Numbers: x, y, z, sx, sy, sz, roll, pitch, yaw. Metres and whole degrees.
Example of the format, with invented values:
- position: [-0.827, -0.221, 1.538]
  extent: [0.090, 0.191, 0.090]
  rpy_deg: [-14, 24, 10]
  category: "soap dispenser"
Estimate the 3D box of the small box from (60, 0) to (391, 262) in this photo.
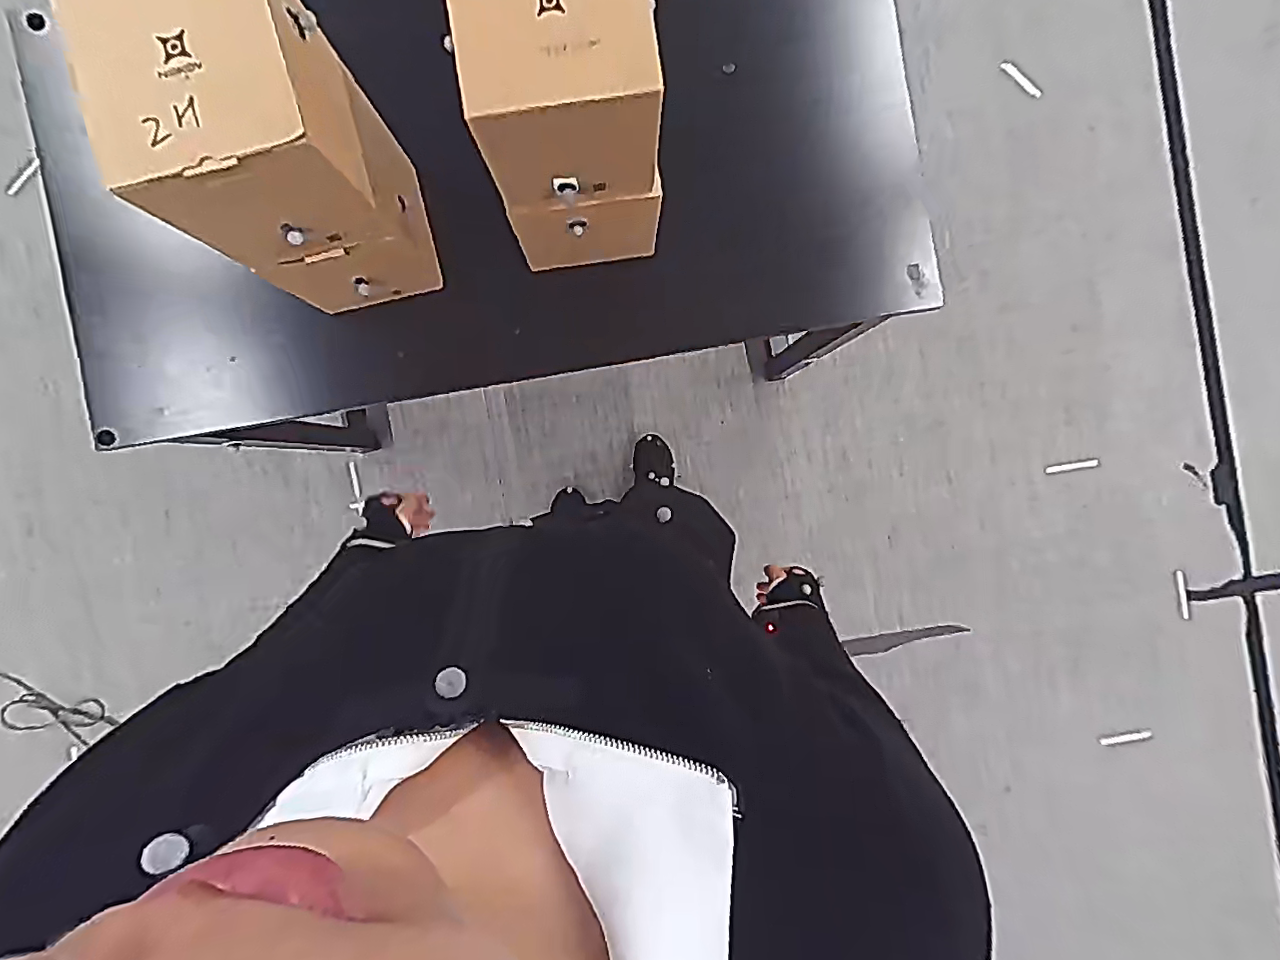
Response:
- position: [-0.367, -0.338, 0.512]
  extent: [0.168, 0.176, 0.179]
  rpy_deg: [-15, 91, -1]
  category: "small box"

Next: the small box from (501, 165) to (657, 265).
- position: [-0.077, -0.389, 0.684]
  extent: [0.179, 0.176, 0.168]
  rpy_deg: [-8, 91, -2]
  category: "small box"

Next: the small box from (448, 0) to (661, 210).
- position: [-0.077, -0.395, 0.522]
  extent: [0.168, 0.176, 0.179]
  rpy_deg: [-9, 92, 0]
  category: "small box"

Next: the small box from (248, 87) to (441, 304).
- position: [-0.371, -0.336, 0.678]
  extent: [0.168, 0.176, 0.179]
  rpy_deg: [-14, 91, -1]
  category: "small box"
